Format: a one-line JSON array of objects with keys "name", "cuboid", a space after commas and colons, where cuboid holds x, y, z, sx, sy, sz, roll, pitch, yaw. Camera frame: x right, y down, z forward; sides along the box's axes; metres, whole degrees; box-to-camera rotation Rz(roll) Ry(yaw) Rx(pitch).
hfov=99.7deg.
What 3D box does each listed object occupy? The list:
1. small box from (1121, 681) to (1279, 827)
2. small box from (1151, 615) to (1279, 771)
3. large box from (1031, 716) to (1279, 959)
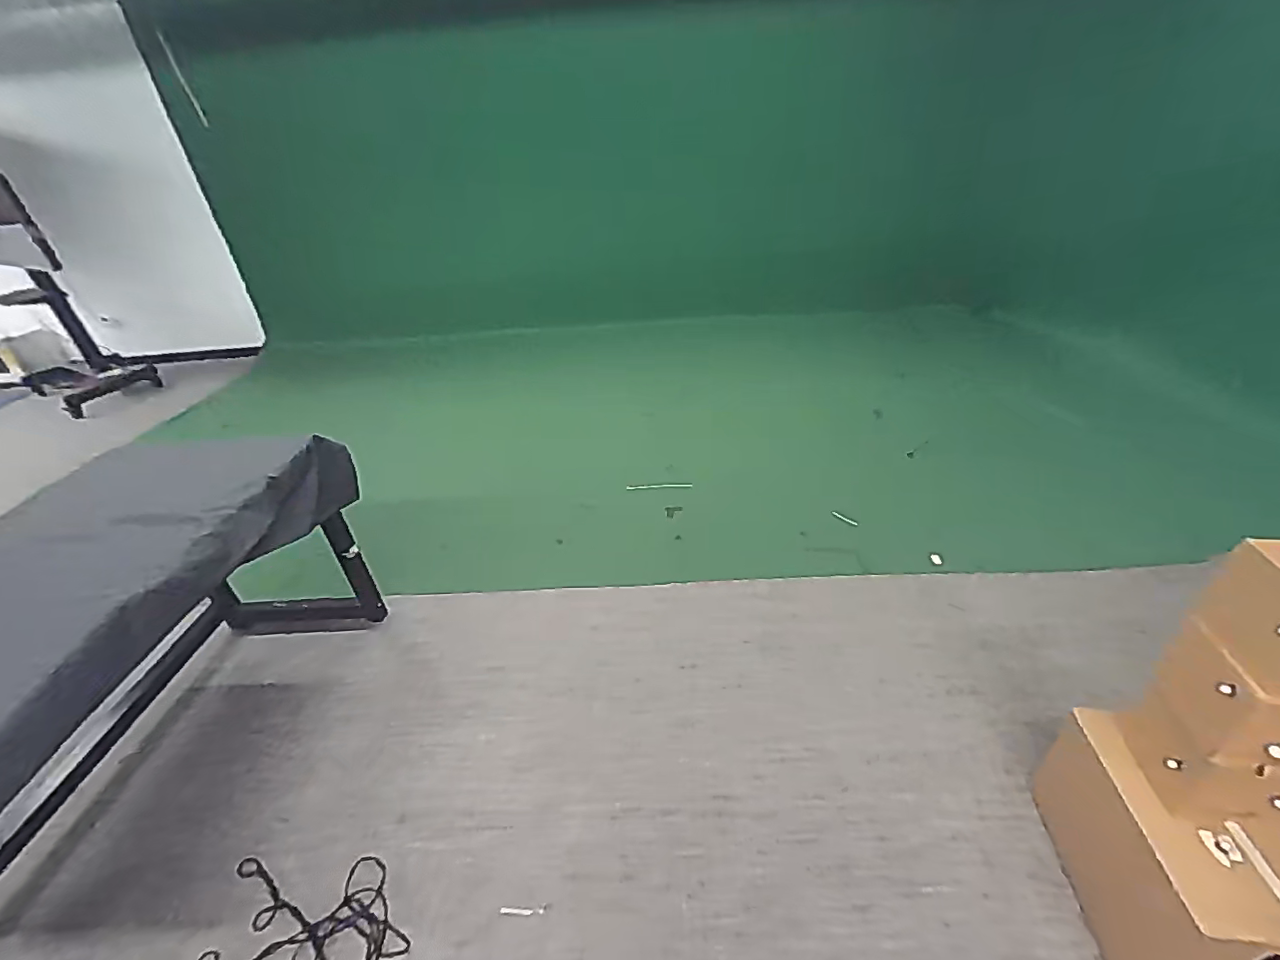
[{"name": "small box", "cuboid": [1.041, 0.495, 0.982, 0.168, 0.176, 0.179, 1, 32, 8]}, {"name": "small box", "cuboid": [1.023, 0.355, 0.901, 0.168, 0.176, 0.179, 3, 34, 10]}, {"name": "large box", "cuboid": [1.063, 0.736, 1.053, 0.320, 0.320, 0.408, -1, 34, 9]}]
